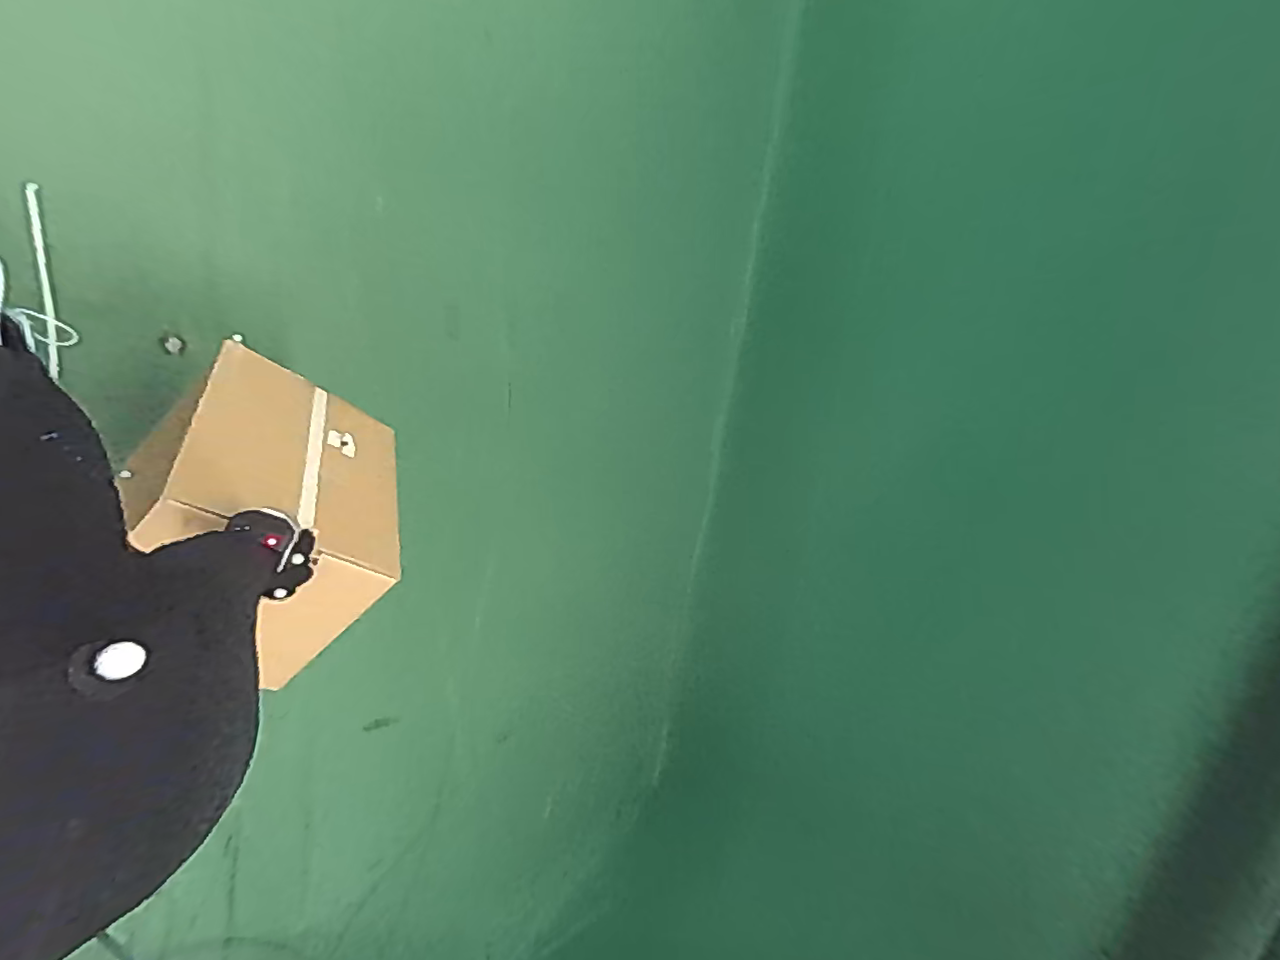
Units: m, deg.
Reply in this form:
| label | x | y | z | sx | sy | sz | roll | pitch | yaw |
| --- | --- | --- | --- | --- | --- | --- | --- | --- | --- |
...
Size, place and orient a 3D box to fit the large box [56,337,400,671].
| label | x | y | z | sx | sy | sz | roll | pitch | yaw |
| --- | --- | --- | --- | --- | --- | --- | --- | --- | --- |
| large box | -0.643 | 0.044 | 0.907 | 0.320 | 0.408 | 0.320 | -41 | 135 | 12 |
